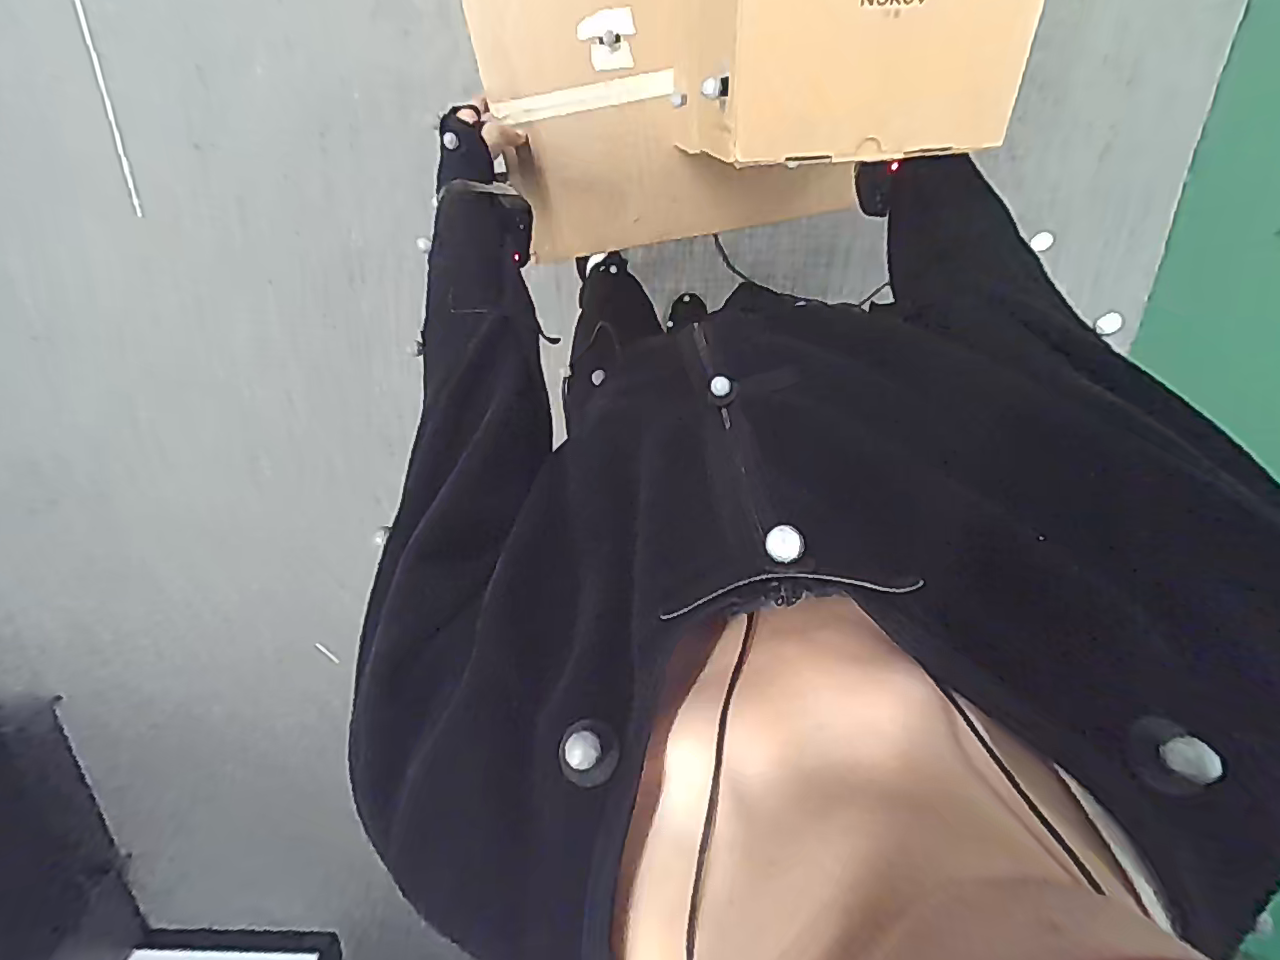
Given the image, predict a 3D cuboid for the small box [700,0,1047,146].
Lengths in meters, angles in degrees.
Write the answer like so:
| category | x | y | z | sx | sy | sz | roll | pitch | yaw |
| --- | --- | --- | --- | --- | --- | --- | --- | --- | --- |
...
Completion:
| category | x | y | z | sx | sy | sz | roll | pitch | yaw |
| --- | --- | --- | --- | --- | --- | --- | --- | --- | --- |
| small box | 0.132 | -0.319 | 0.340 | 0.168 | 0.176 | 0.179 | -3 | 126 | -1 |
